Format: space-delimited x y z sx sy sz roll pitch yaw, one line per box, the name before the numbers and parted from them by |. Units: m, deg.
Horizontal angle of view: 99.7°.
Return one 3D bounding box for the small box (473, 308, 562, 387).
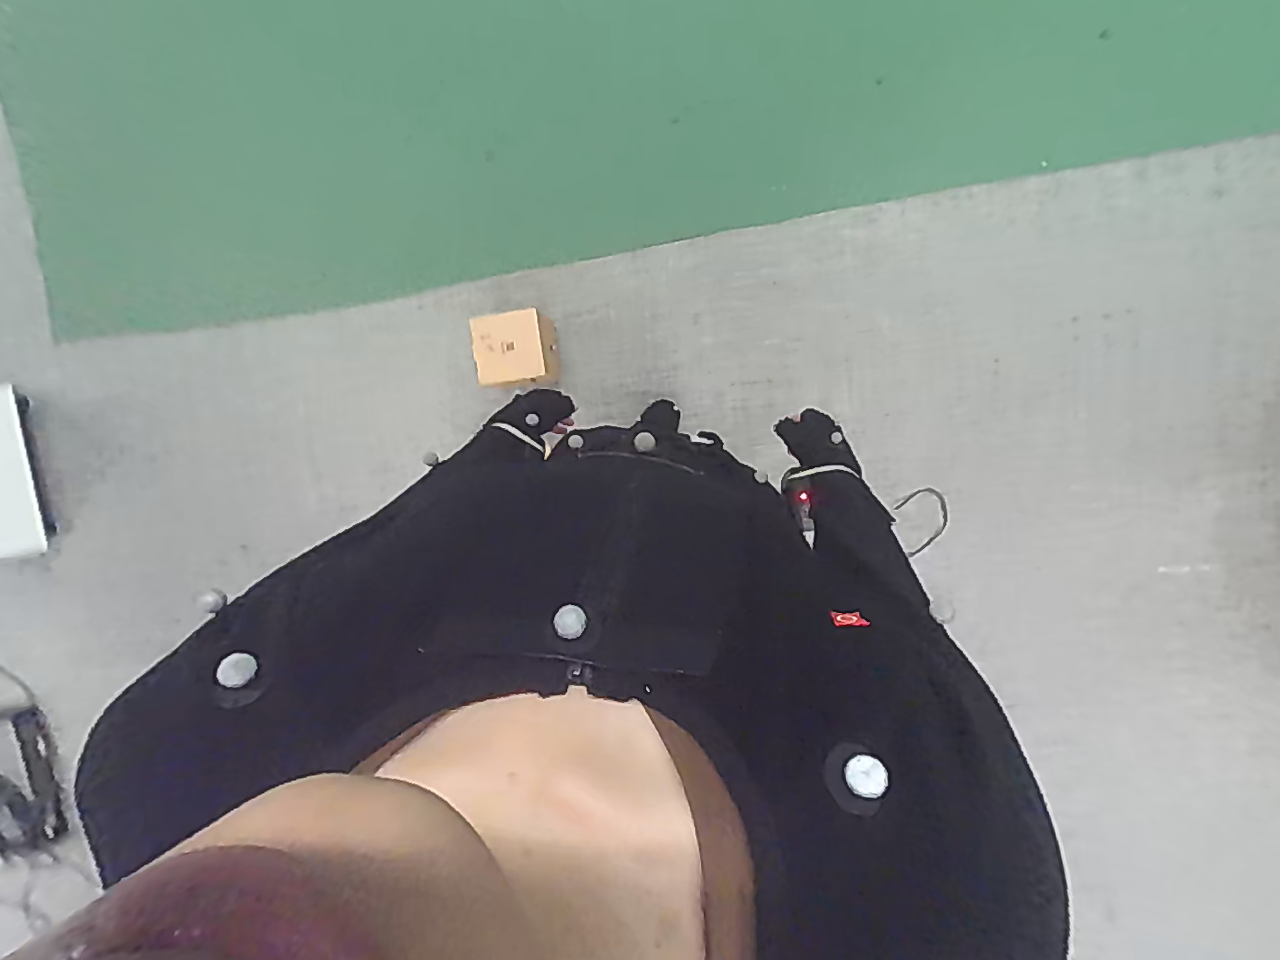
small box | -0.307 -0.336 1.399 0.179 0.176 0.168 -7 95 8
